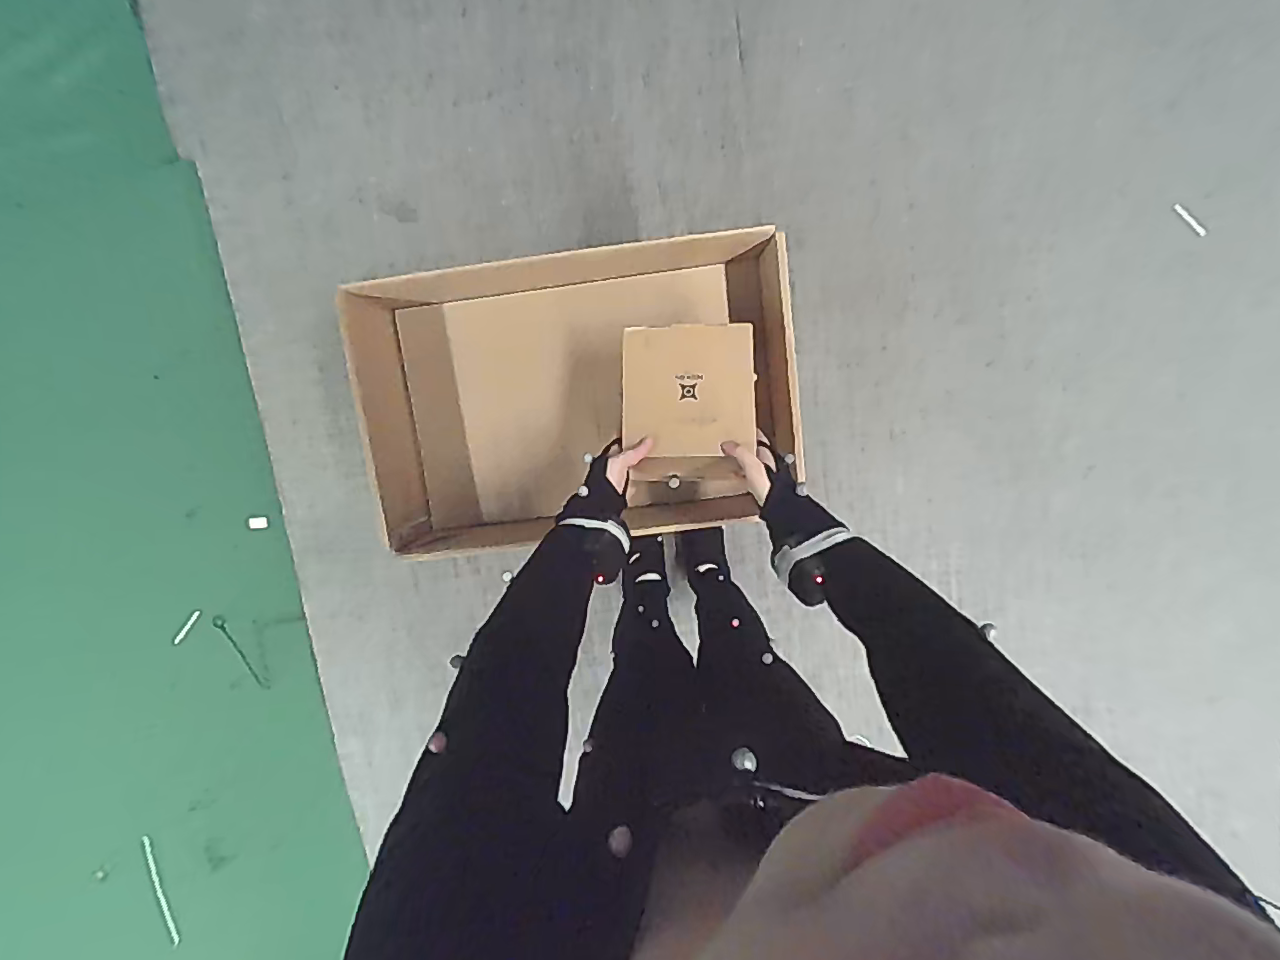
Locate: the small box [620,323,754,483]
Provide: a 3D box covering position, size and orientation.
[{"bbox_3d":[0.063,-0.099,0.750,0.168,0.176,0.179,1,79,4],"label":"small box"}]
